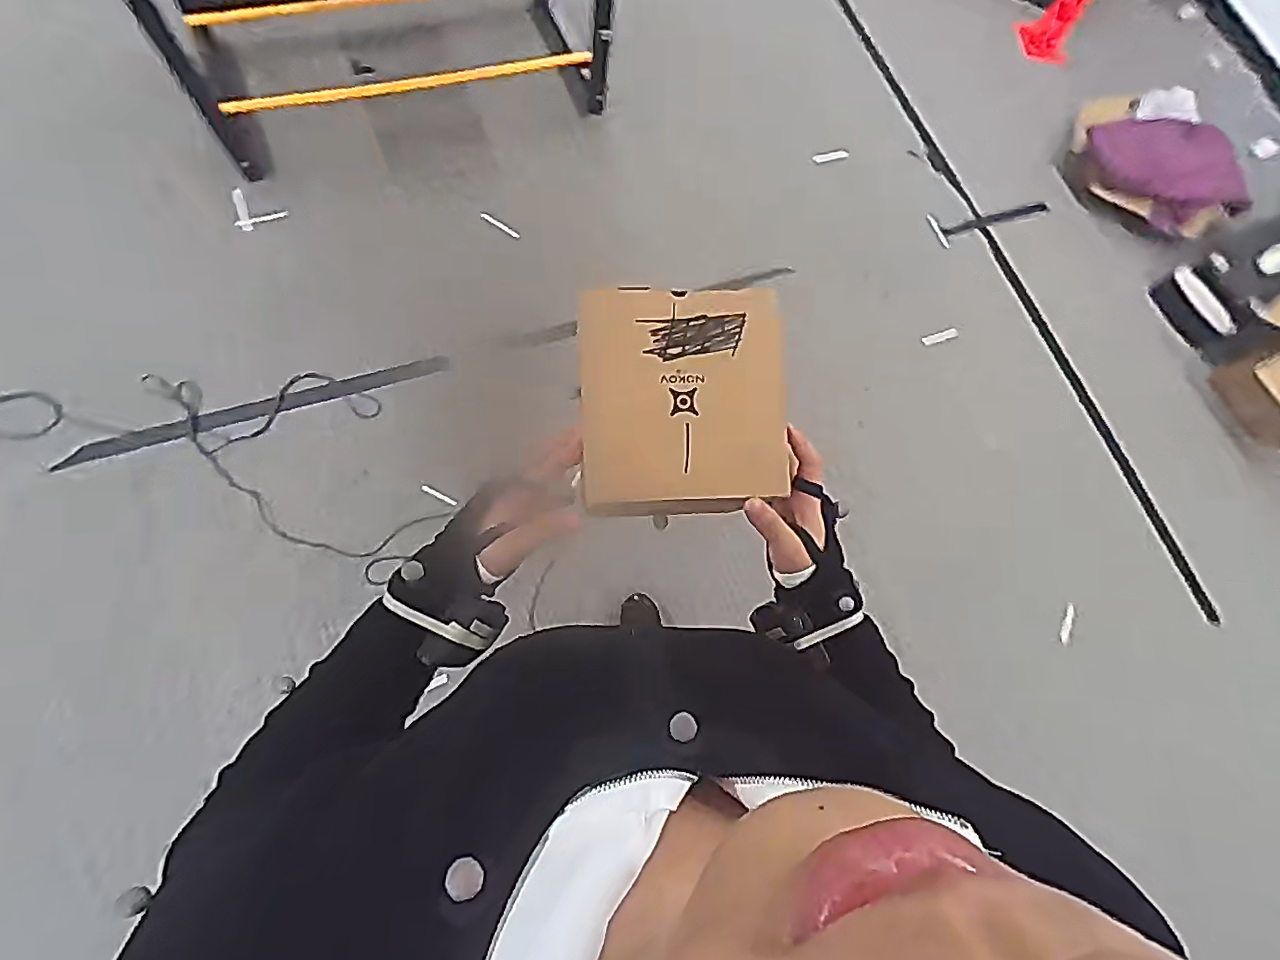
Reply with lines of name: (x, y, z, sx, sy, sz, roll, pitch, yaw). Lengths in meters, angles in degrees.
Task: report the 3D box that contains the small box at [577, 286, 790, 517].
small box: (0.025, -0.061, 0.511, 0.168, 0.176, 0.179, -3, 83, -7)
